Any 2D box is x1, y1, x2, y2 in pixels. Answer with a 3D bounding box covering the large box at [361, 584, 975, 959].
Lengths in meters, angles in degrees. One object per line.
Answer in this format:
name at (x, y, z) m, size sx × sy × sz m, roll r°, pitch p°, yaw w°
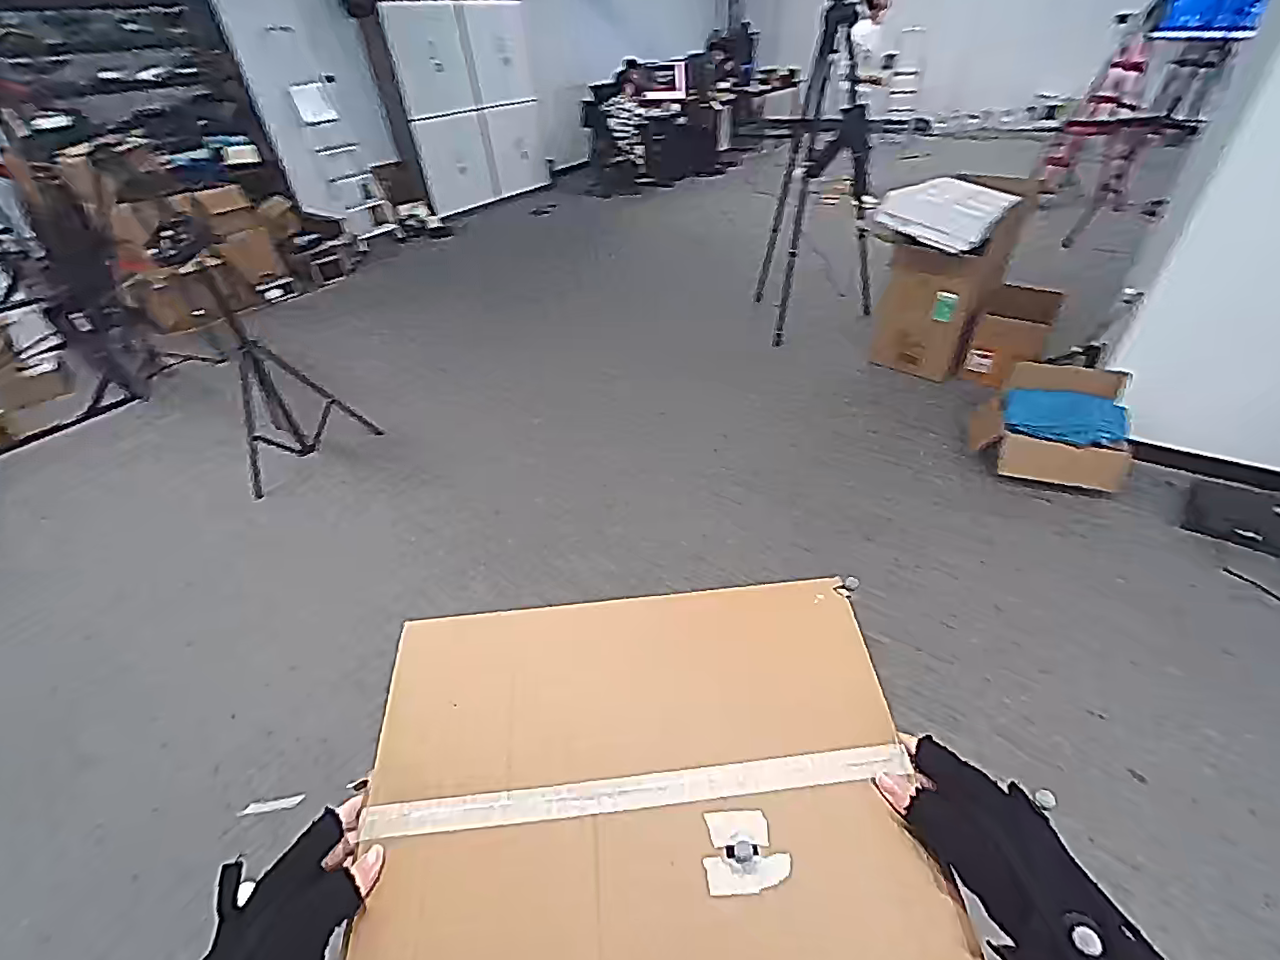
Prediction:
large box at (0.006, 0.334, 0.527) m, size 0.408 × 0.320 × 0.320 m, roll -6°, pitch 51°, yaw -3°
